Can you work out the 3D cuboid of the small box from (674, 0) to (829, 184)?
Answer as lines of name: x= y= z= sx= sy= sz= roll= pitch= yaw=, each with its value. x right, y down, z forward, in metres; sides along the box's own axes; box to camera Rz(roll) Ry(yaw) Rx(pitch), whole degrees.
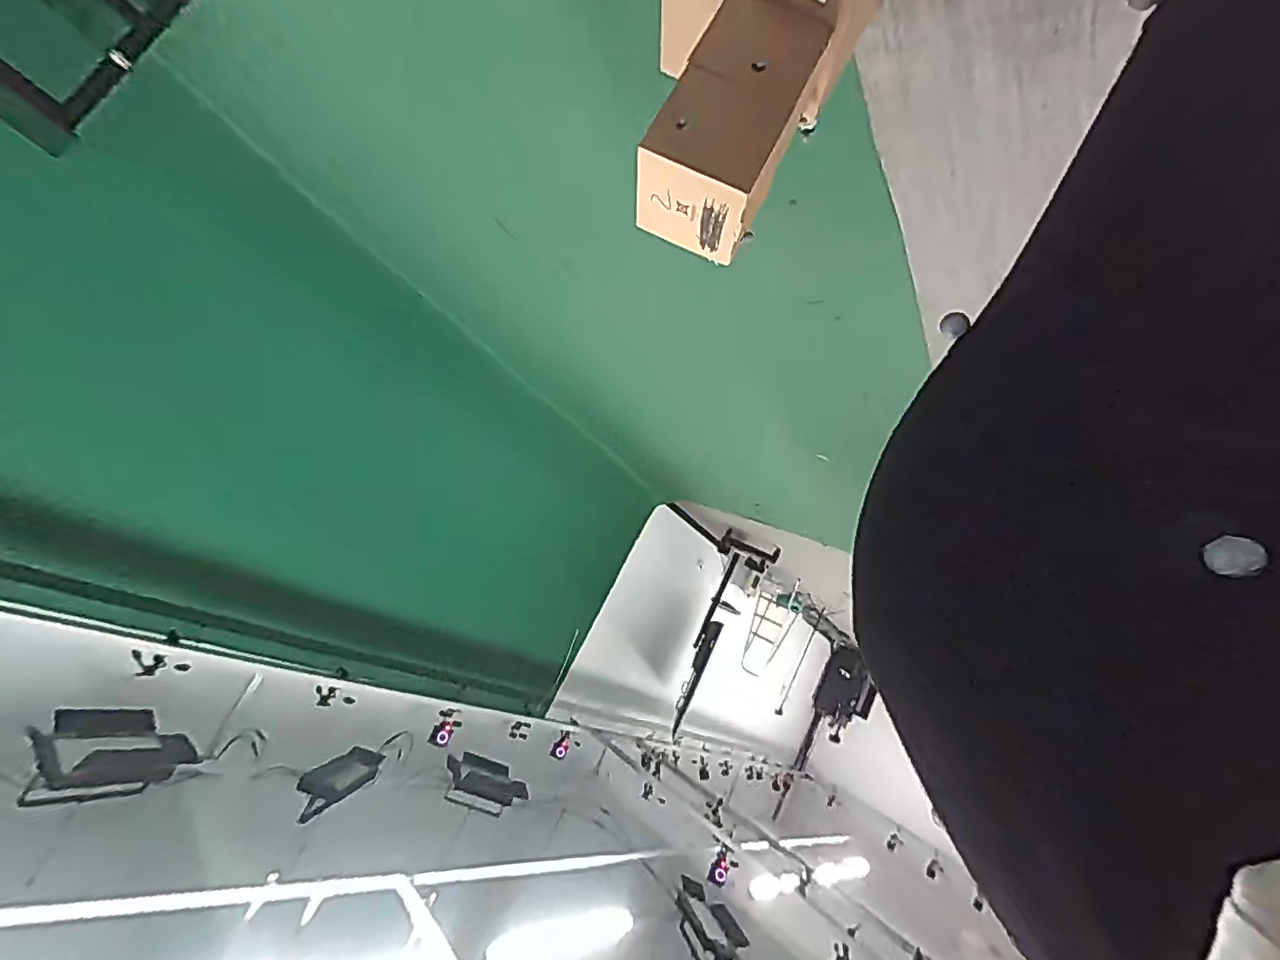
small box: x=0.175 y=-0.634 z=0.873 sx=0.179 sy=0.176 sz=0.168 roll=27 pitch=167 yaw=3
